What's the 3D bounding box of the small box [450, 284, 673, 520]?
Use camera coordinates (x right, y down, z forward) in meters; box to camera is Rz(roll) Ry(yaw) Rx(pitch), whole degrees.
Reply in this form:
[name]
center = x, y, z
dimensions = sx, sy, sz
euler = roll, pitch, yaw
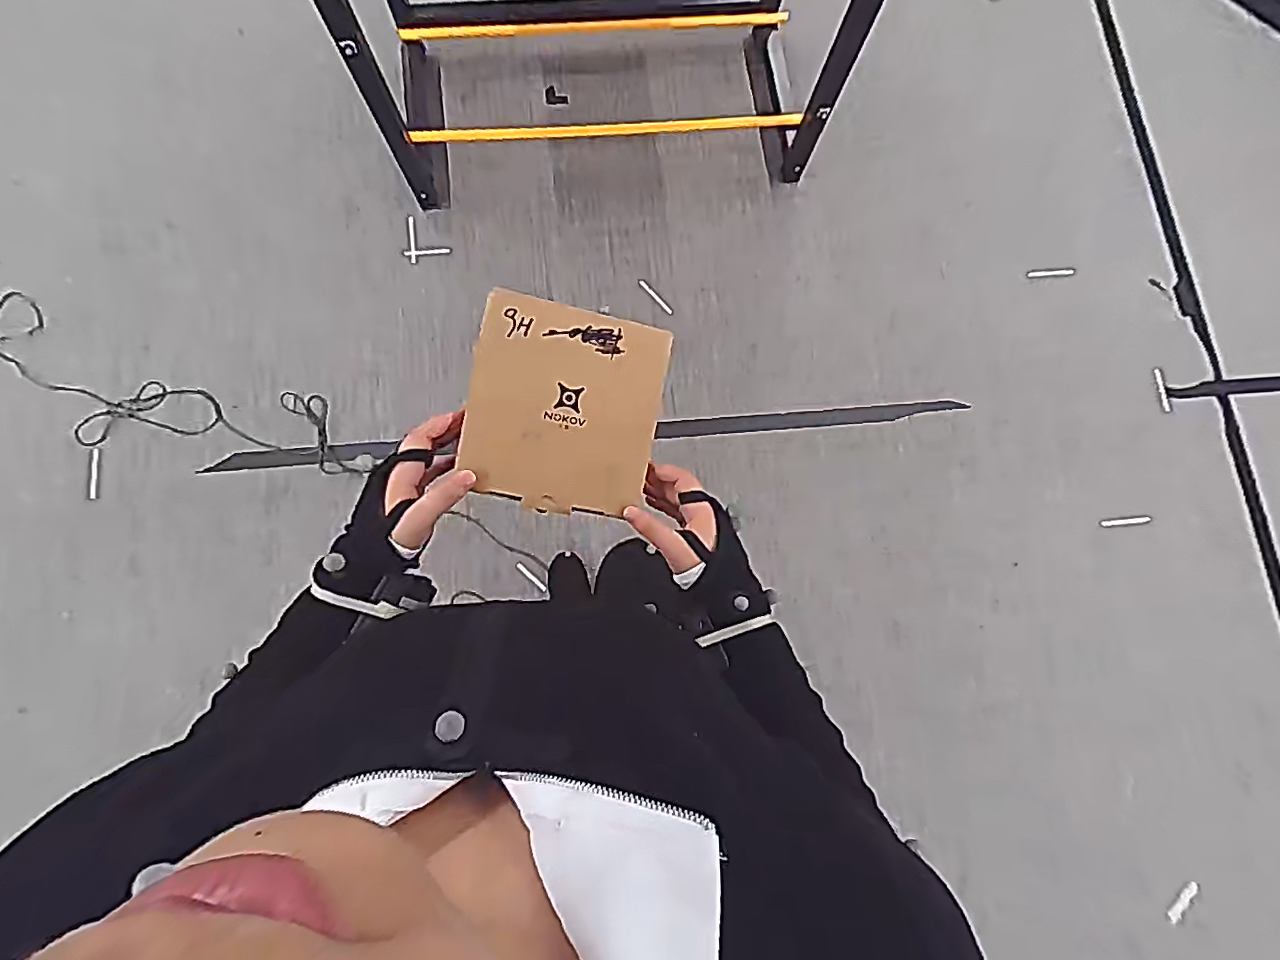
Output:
[small box]
center = -0.080, -0.069, 0.547
dimensions = 0.168, 0.176, 0.179
euler = 11, 92, -12
